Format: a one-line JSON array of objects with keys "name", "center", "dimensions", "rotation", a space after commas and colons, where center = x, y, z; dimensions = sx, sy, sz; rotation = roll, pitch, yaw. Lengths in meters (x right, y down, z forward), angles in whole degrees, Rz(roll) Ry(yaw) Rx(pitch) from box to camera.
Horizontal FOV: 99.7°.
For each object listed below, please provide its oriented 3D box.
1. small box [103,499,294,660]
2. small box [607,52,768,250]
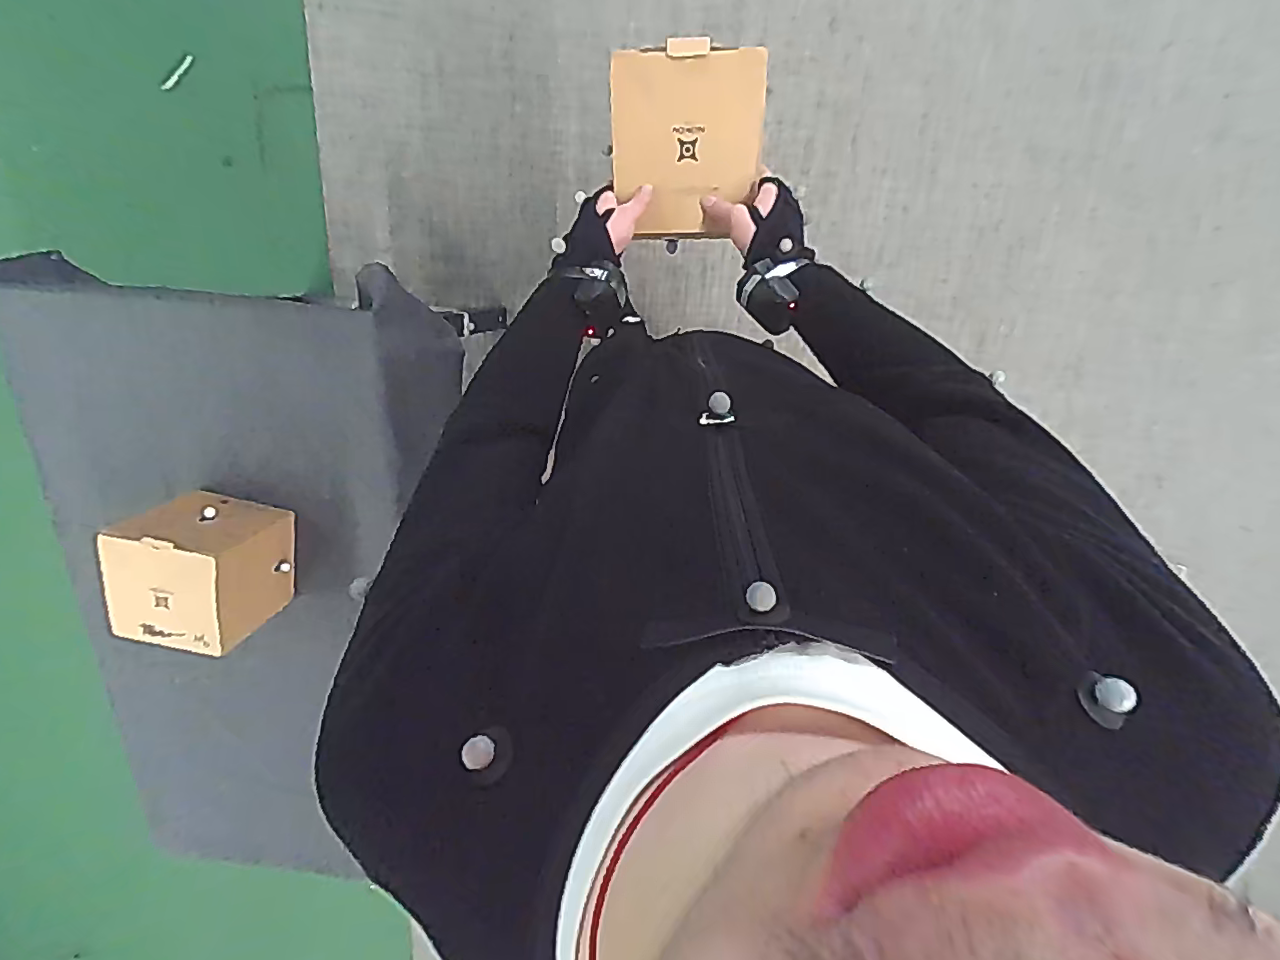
[{"name": "small box", "center": [-0.676, 0.146, 0.849], "dimensions": [0.168, 0.176, 0.179], "rotation": [13, 108, -1]}, {"name": "small box", "center": [0.049, -0.378, 0.652], "dimensions": [0.168, 0.176, 0.179], "rotation": [2, 111, 2]}]
